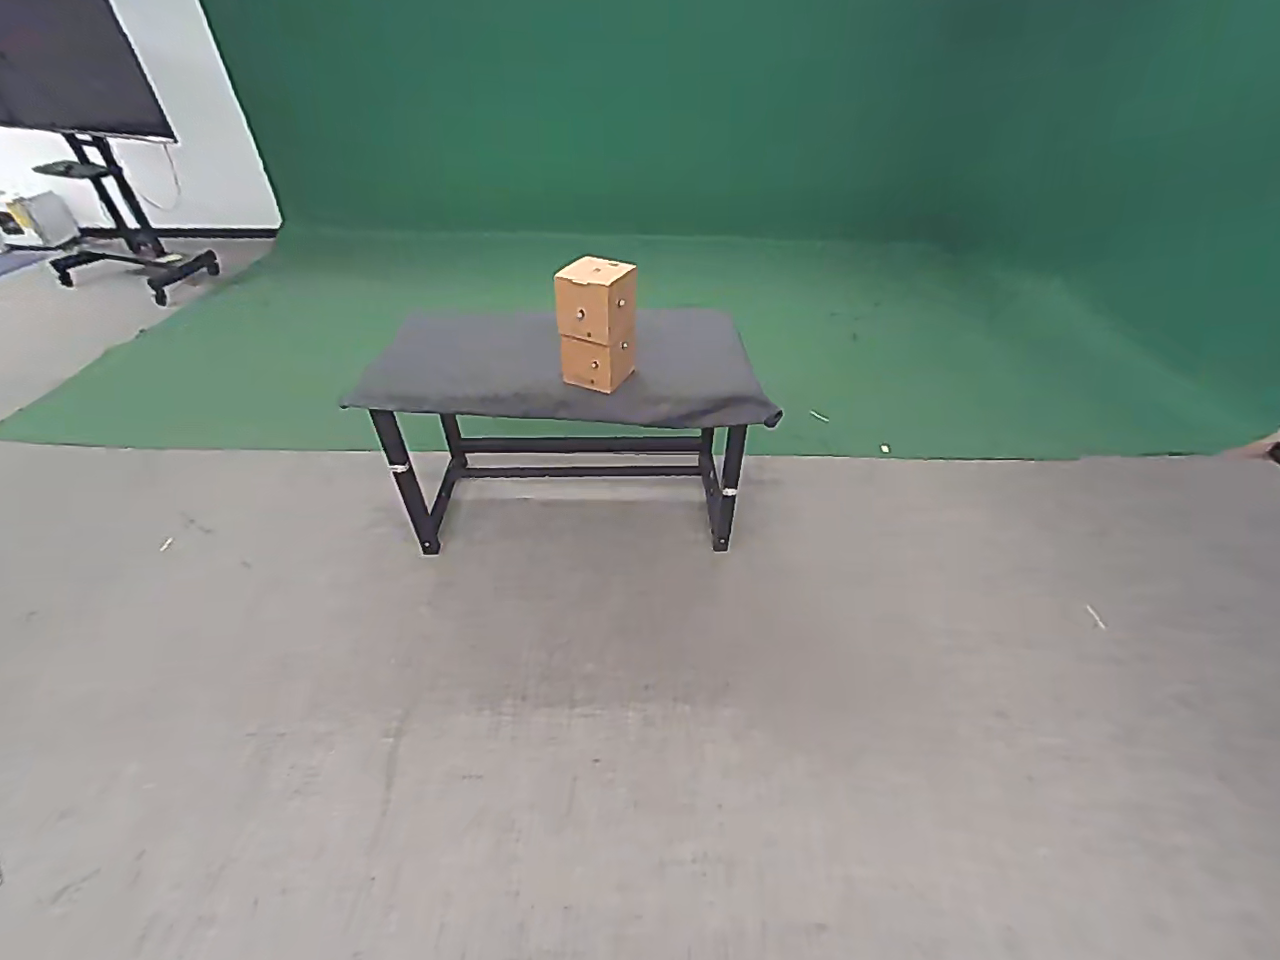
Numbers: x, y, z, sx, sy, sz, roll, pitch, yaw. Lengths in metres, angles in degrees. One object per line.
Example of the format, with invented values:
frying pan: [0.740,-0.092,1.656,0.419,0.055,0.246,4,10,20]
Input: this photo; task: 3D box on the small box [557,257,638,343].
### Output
small box: [-0.113,-0.506,1.524,0.168,0.176,0.179,19,45,18]

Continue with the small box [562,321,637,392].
small box: [-0.117,-0.390,1.641,0.168,0.176,0.179,18,43,18]
